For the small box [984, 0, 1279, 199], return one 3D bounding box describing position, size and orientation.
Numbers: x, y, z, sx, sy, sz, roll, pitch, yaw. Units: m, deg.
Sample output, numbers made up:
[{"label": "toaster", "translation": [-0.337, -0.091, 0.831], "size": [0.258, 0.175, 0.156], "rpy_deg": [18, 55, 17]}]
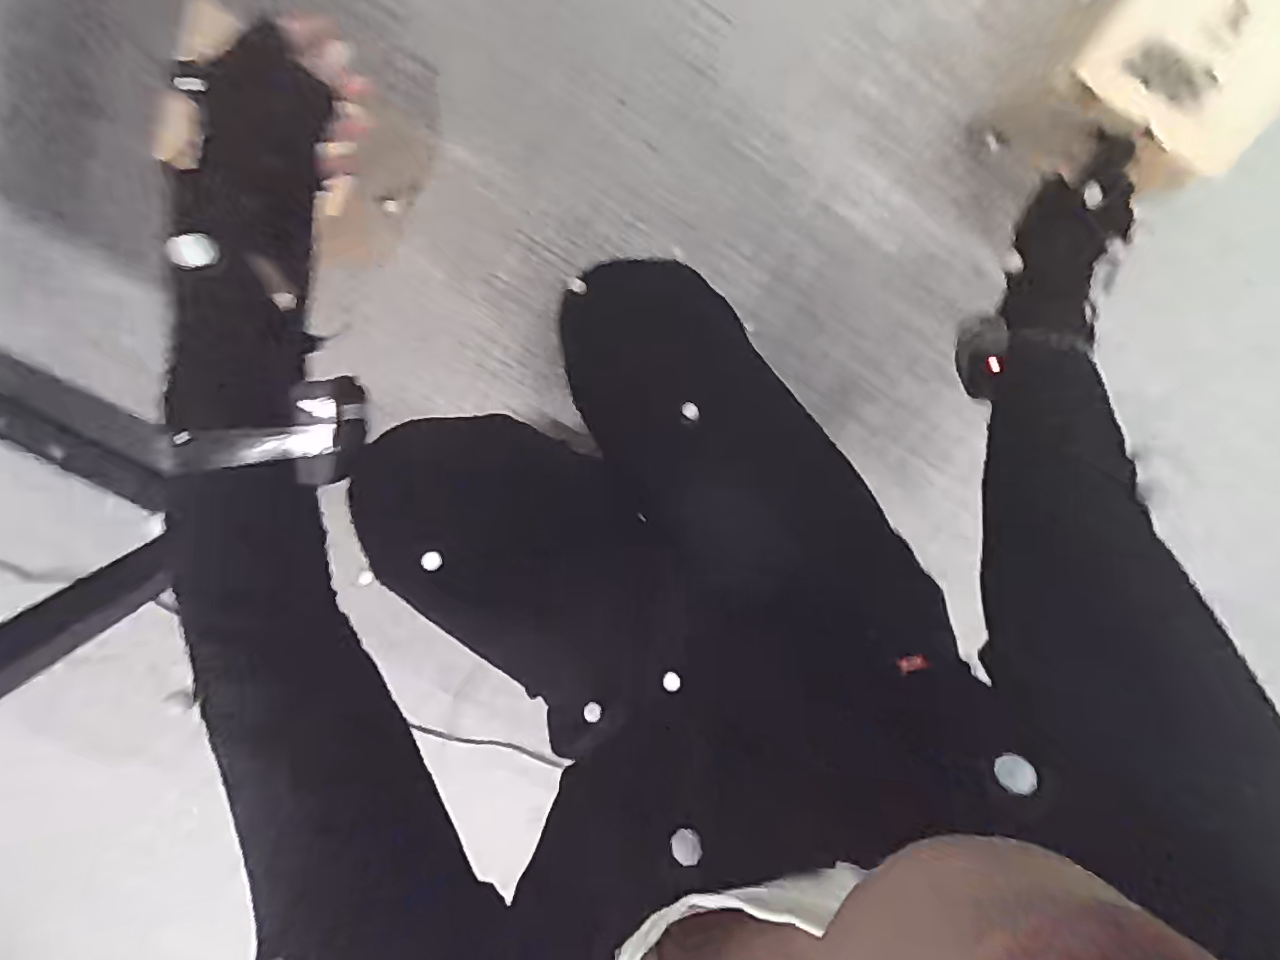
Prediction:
[{"label": "small box", "translation": [0.469, -0.393, 0.511], "size": [0.168, 0.176, 0.179], "rpy_deg": [32, 113, -8]}]
